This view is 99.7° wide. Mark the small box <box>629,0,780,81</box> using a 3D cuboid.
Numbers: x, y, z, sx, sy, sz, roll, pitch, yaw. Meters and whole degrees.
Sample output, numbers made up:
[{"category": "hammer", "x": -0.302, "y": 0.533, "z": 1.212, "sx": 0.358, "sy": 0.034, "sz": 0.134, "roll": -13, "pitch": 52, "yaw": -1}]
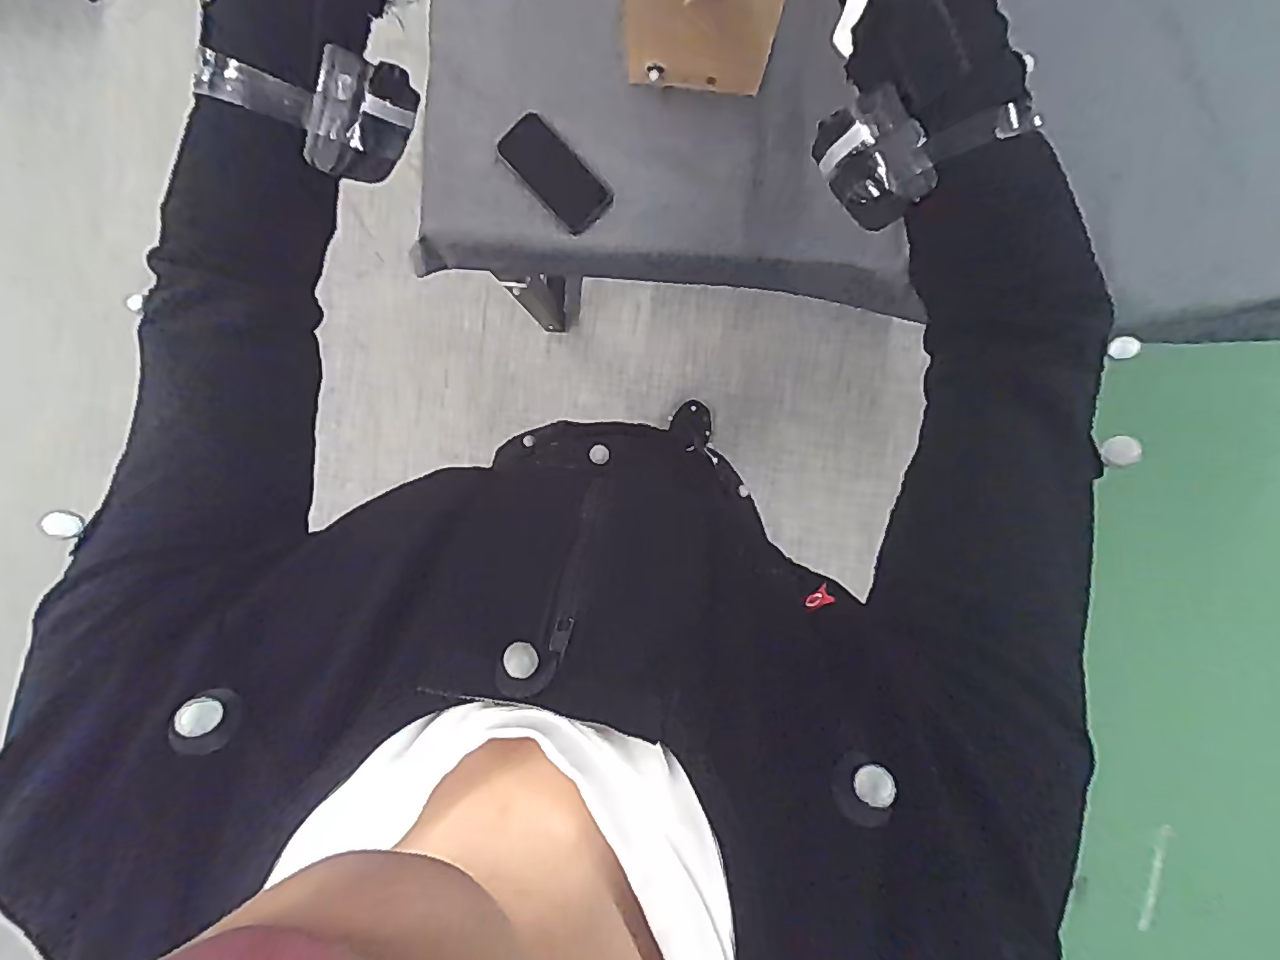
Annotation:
[{"category": "small box", "x": 0.079, "y": -0.590, "z": 0.601, "sx": 0.168, "sy": 0.176, "sz": 0.179, "roll": 8, "pitch": 93, "yaw": 0}]
